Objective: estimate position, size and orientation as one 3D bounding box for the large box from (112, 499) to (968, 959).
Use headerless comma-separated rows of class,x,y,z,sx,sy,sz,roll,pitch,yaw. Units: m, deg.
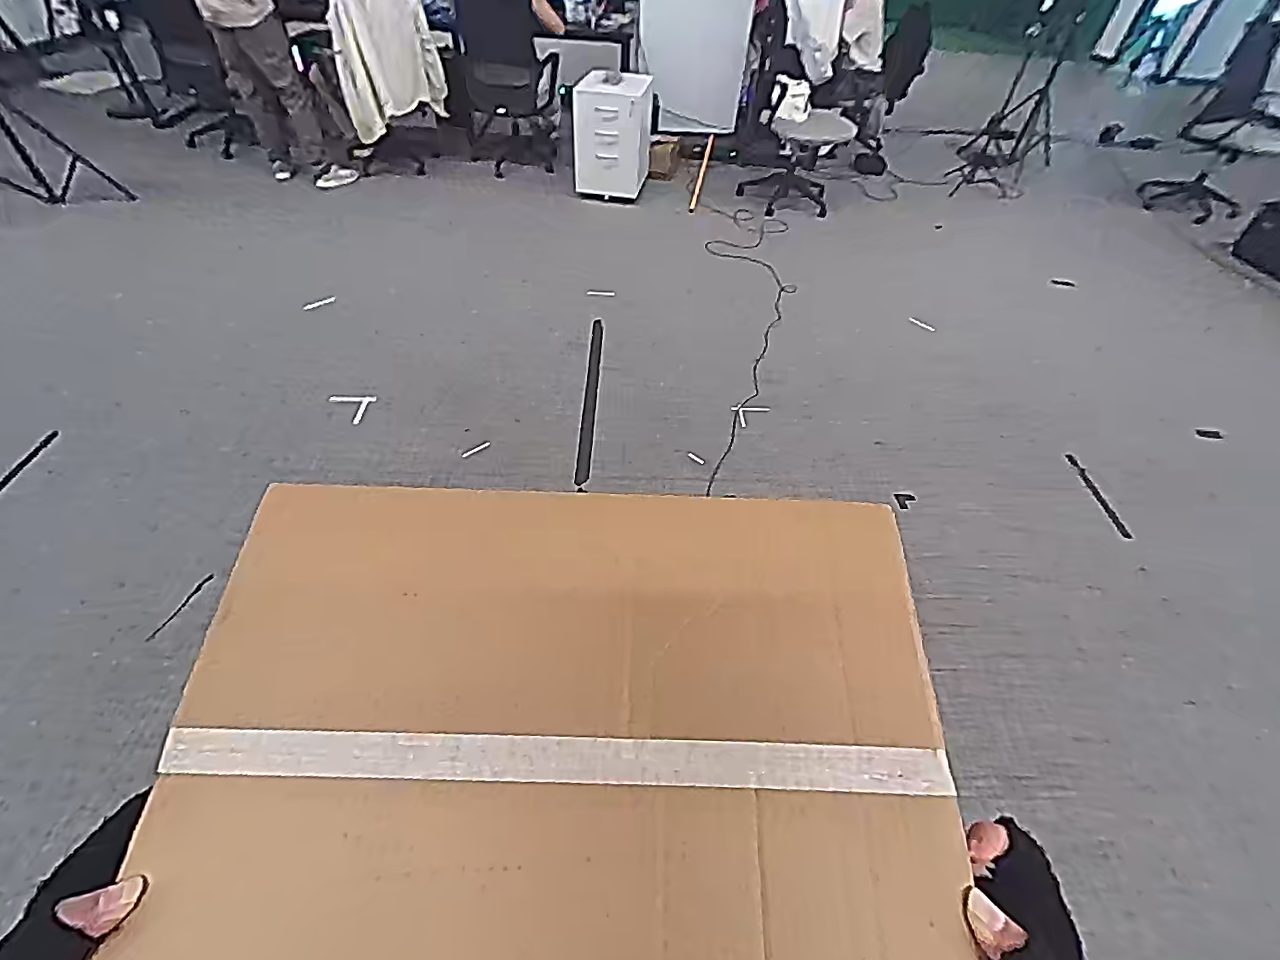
large box,-0.045,0.223,0.420,0.408,0.320,0.320,2,62,0
